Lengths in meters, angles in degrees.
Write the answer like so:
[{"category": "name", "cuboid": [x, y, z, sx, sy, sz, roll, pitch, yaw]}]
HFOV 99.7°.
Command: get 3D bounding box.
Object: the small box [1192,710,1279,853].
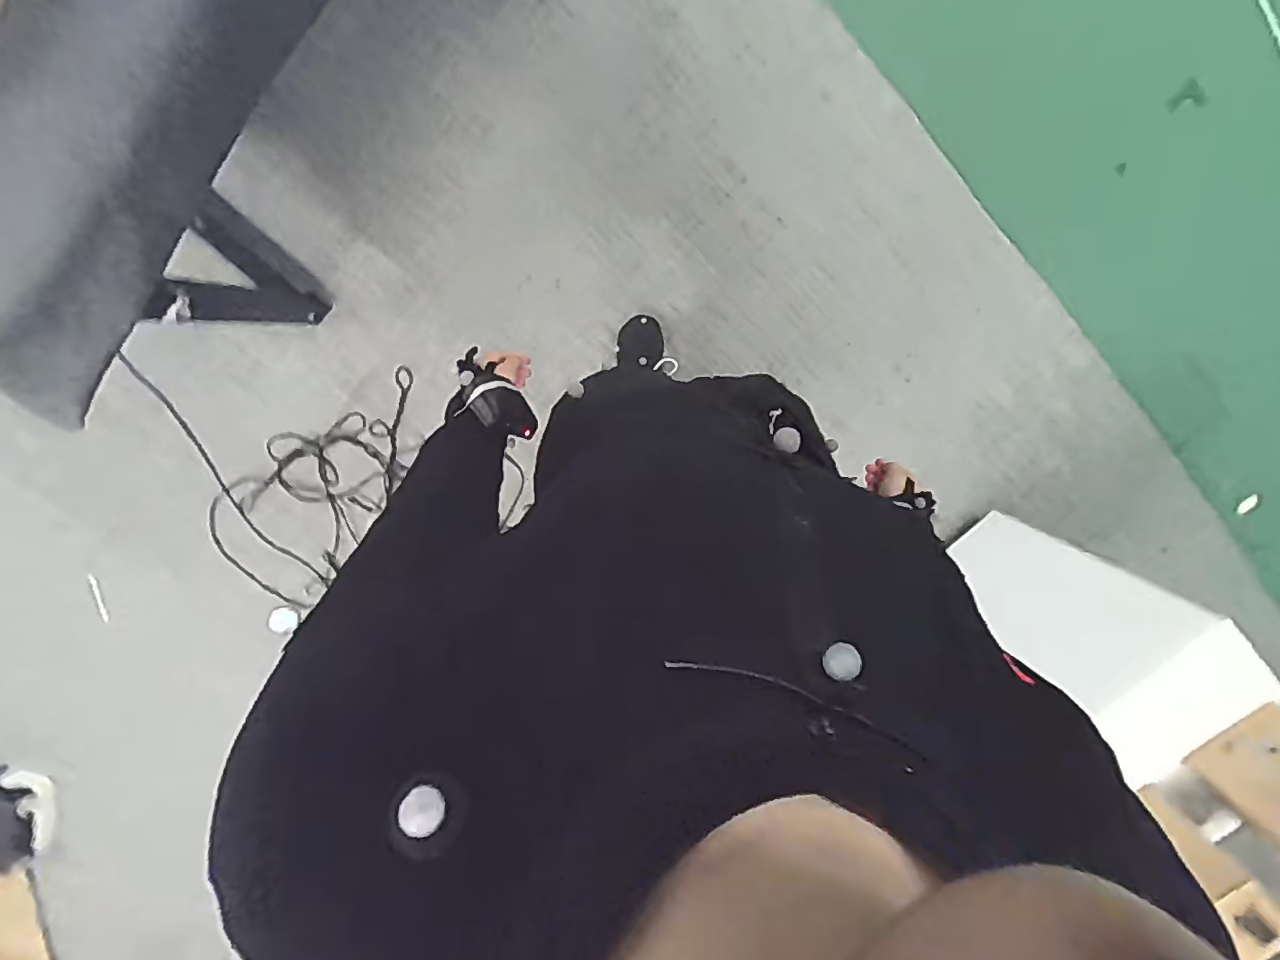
[{"category": "small box", "cuboid": [1.041, 0.499, 0.836, 0.168, 0.176, 0.179, -43, 101, 10]}]
